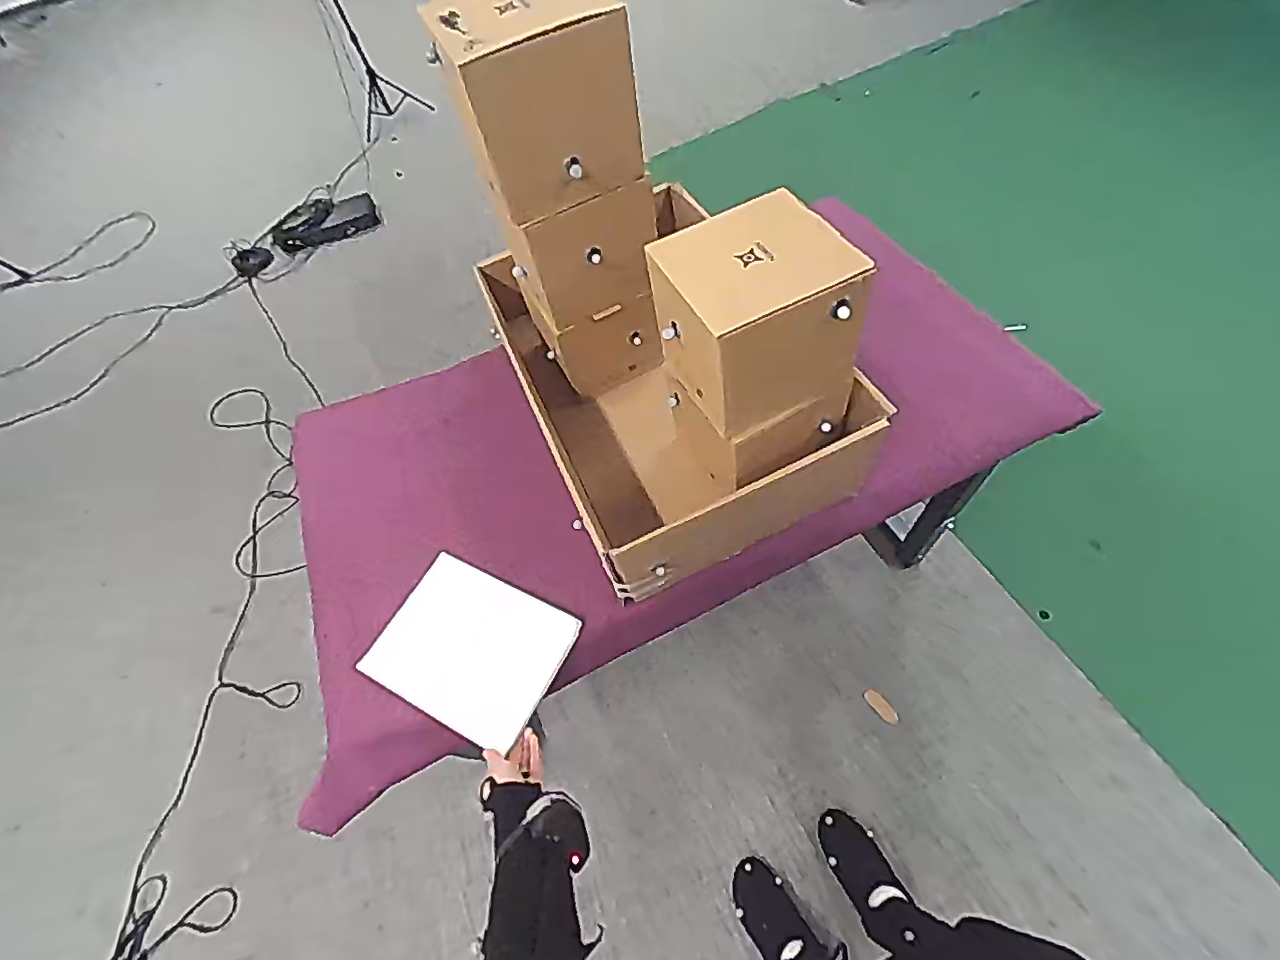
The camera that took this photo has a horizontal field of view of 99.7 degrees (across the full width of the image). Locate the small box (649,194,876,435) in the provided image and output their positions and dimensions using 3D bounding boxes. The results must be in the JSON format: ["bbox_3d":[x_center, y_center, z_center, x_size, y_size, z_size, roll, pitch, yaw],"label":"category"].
[{"bbox_3d":[0.130,-0.181,0.614,0.179,0.176,0.168,-25,57,-6],"label":"small box"}]

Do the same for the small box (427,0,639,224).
[{"bbox_3d":[-0.109,-0.431,0.616,0.179,0.176,0.168,-25,59,-8],"label":"small box"}]

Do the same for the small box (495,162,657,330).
[{"bbox_3d":[-0.085,-0.346,0.754,0.179,0.176,0.168,-27,60,-8],"label":"small box"}]
